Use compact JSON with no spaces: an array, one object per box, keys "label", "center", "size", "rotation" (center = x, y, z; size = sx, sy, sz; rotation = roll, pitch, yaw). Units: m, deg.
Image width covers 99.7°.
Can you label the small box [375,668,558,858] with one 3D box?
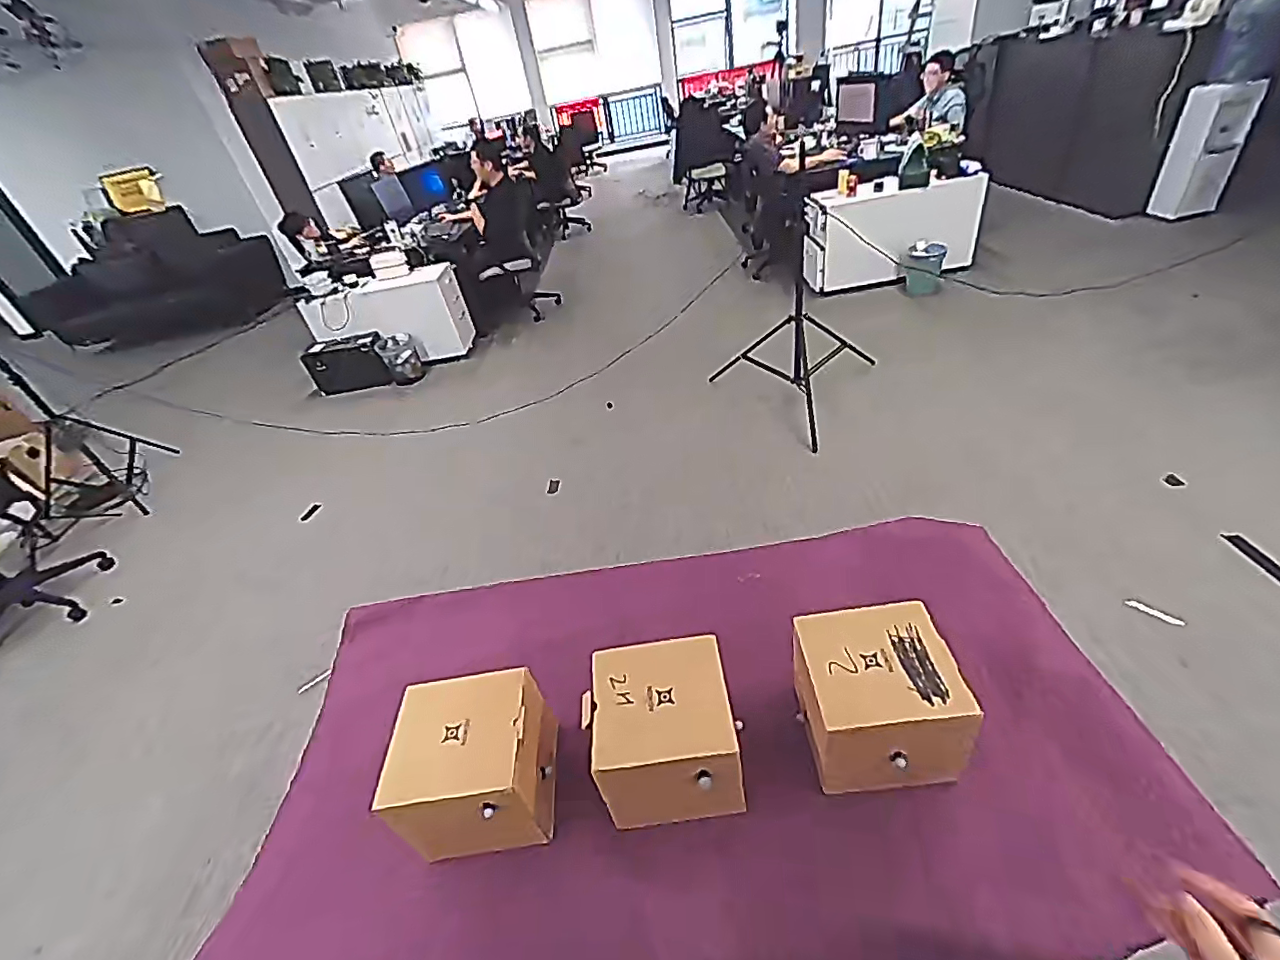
[{"label":"small box","center":[-0.222,0.391,0.744],"size":[0.179,0.176,0.168],"rotation":[-10,37,1]}]

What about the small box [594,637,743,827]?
[{"label":"small box","center":[0.040,0.341,0.733],"size":[0.179,0.176,0.168],"rotation":[-10,36,3]}]
